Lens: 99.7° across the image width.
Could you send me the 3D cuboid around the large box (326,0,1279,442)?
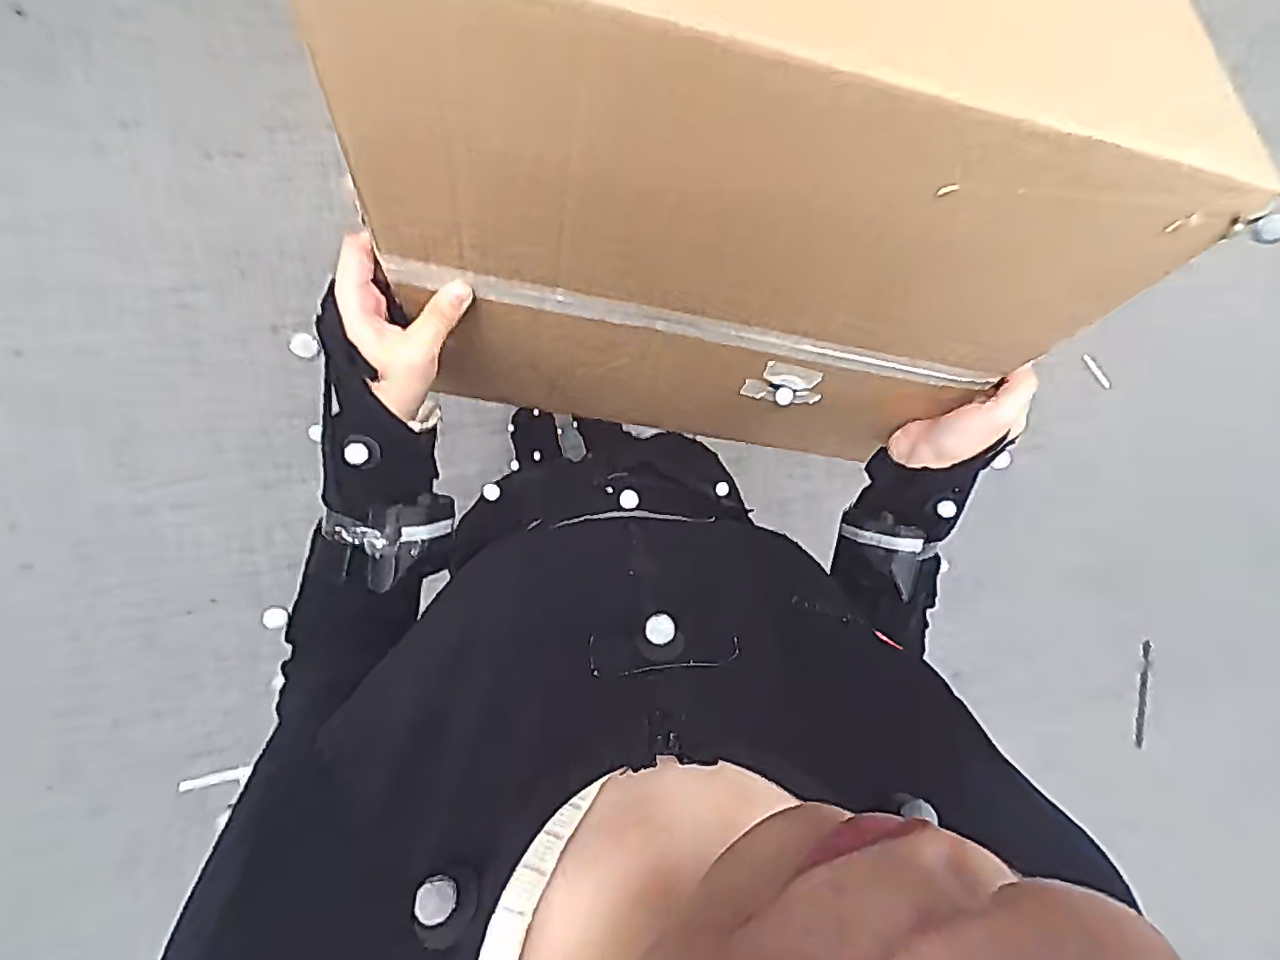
[{"bbox_3d":[0.071,-0.248,0.372,0.408,0.320,0.320,7,70,-9],"label":"large box"}]
